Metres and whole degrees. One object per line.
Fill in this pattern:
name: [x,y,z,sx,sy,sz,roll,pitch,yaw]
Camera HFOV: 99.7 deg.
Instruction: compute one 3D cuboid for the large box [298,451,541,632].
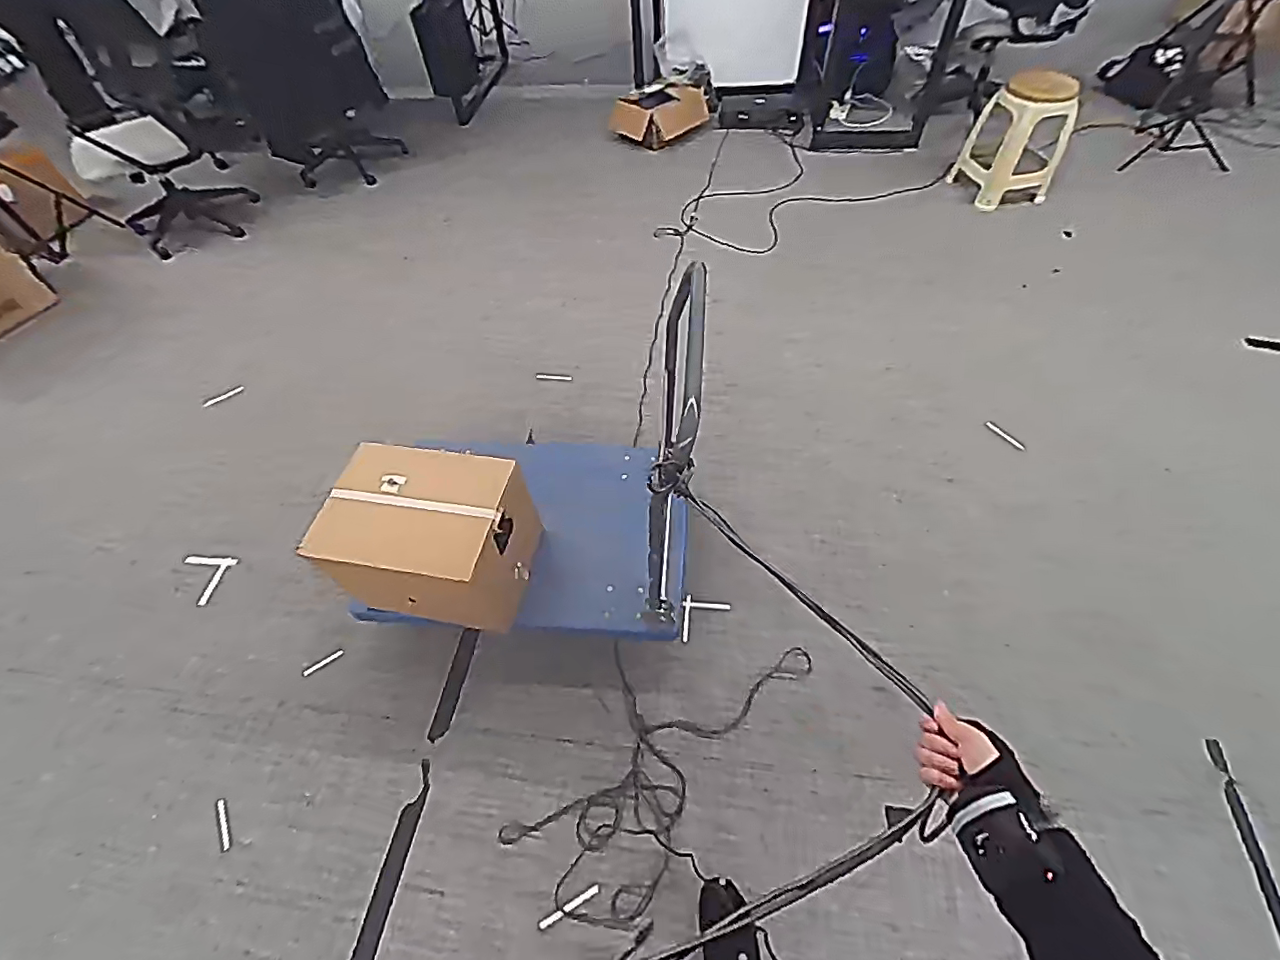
large box: [-0.498,0.156,1.323,0.408,0.320,0.320,6,55,9]
